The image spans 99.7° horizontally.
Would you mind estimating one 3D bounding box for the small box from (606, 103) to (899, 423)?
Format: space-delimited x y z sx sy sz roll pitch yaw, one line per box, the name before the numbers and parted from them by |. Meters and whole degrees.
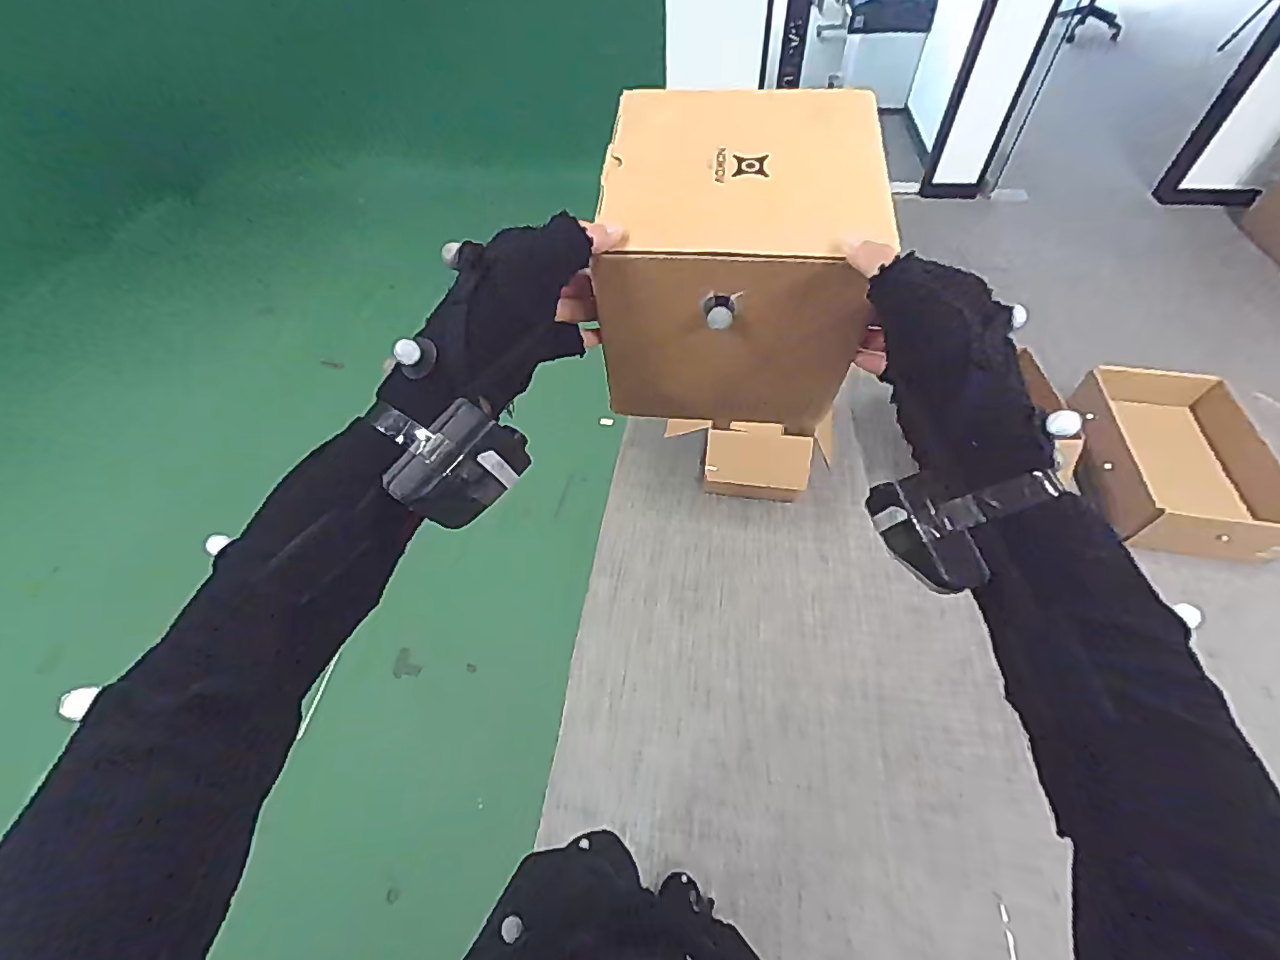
small box | 0.077 -0.159 0.426 0.179 0.176 0.168 4 62 5
